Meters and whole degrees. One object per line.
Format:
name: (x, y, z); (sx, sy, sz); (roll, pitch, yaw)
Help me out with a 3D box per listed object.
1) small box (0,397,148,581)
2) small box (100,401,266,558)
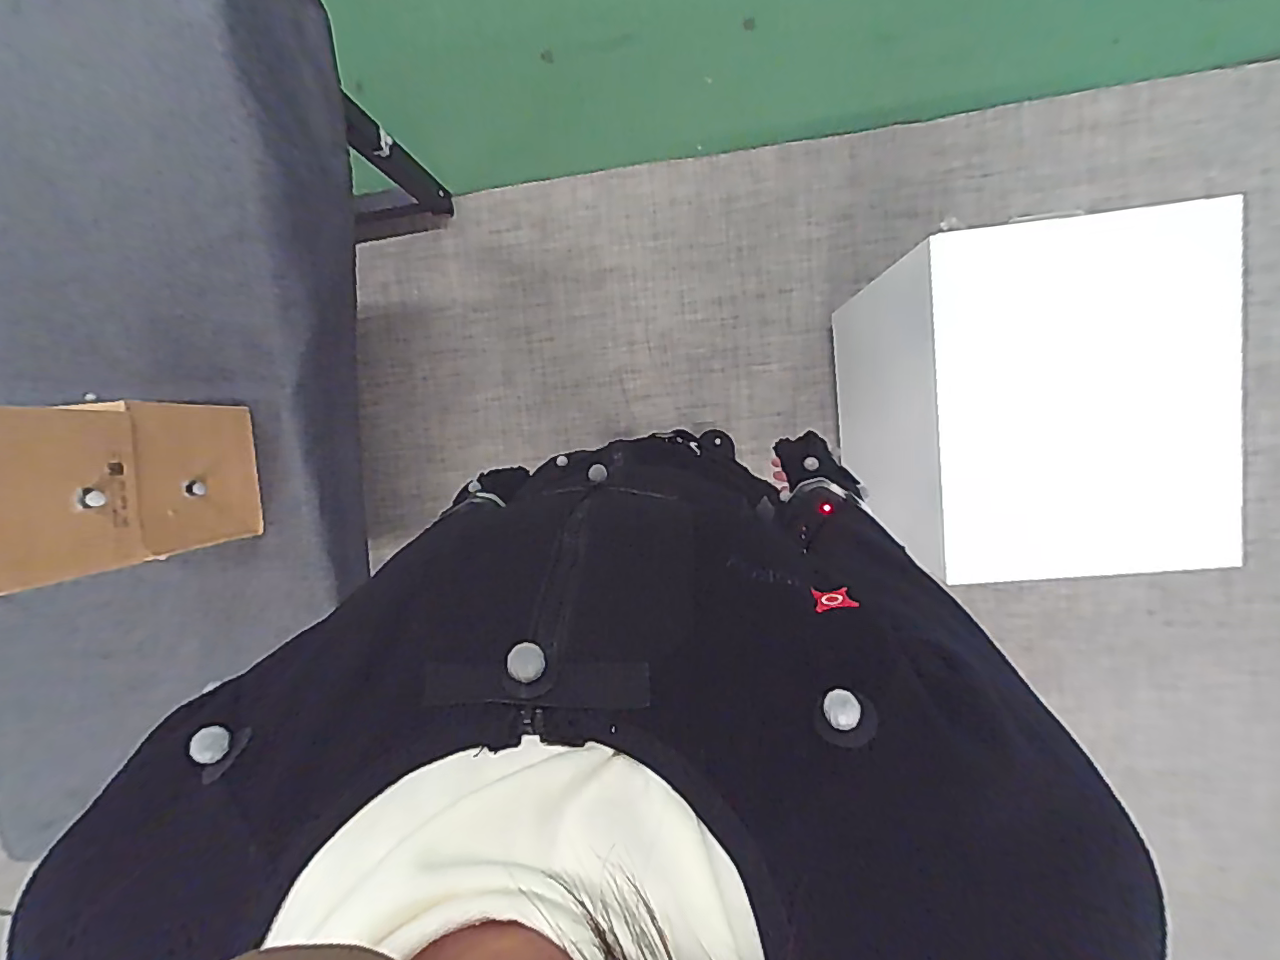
small box: (-0.637, 0.010, 0.520); (0.179, 0.176, 0.168); (-3, 95, 9)
small box: (-0.613, -0.007, 0.682); (0.168, 0.176, 0.179); (-3, 96, 7)
